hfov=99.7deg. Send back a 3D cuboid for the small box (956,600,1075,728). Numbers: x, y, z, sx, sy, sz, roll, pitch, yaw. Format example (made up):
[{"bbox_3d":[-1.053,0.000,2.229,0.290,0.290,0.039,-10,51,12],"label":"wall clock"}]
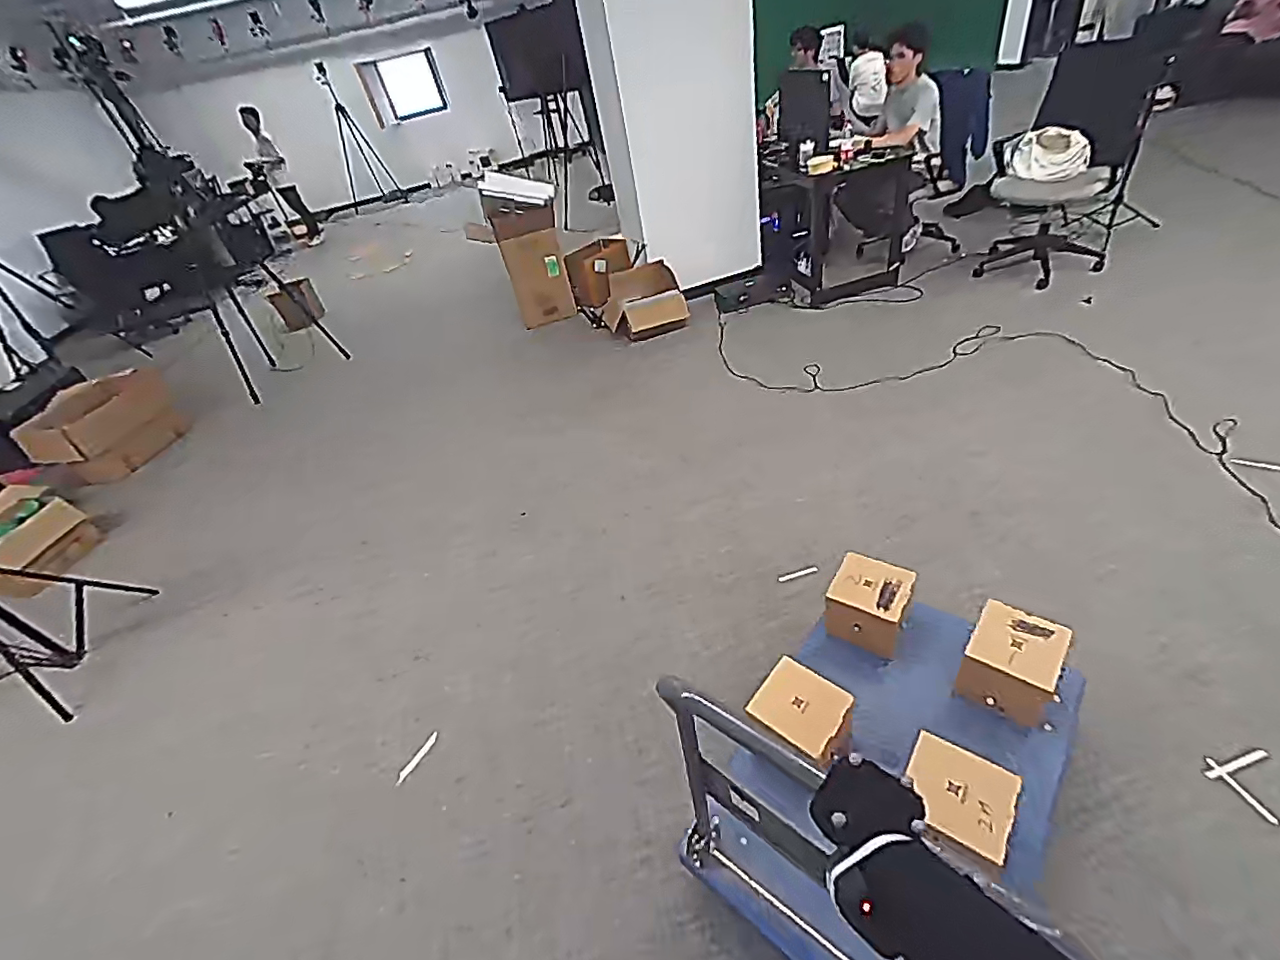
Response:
[{"bbox_3d":[0.841,0.415,1.224,0.168,0.176,0.179,22,53,37],"label":"small box"}]

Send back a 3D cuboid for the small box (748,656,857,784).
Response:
[{"bbox_3d":[0.362,0.543,1.219,0.179,0.176,0.168,25,53,36],"label":"small box"}]

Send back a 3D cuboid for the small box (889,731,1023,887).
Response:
[{"bbox_3d":[0.597,0.632,1.039,0.179,0.176,0.168,19,50,35],"label":"small box"}]
